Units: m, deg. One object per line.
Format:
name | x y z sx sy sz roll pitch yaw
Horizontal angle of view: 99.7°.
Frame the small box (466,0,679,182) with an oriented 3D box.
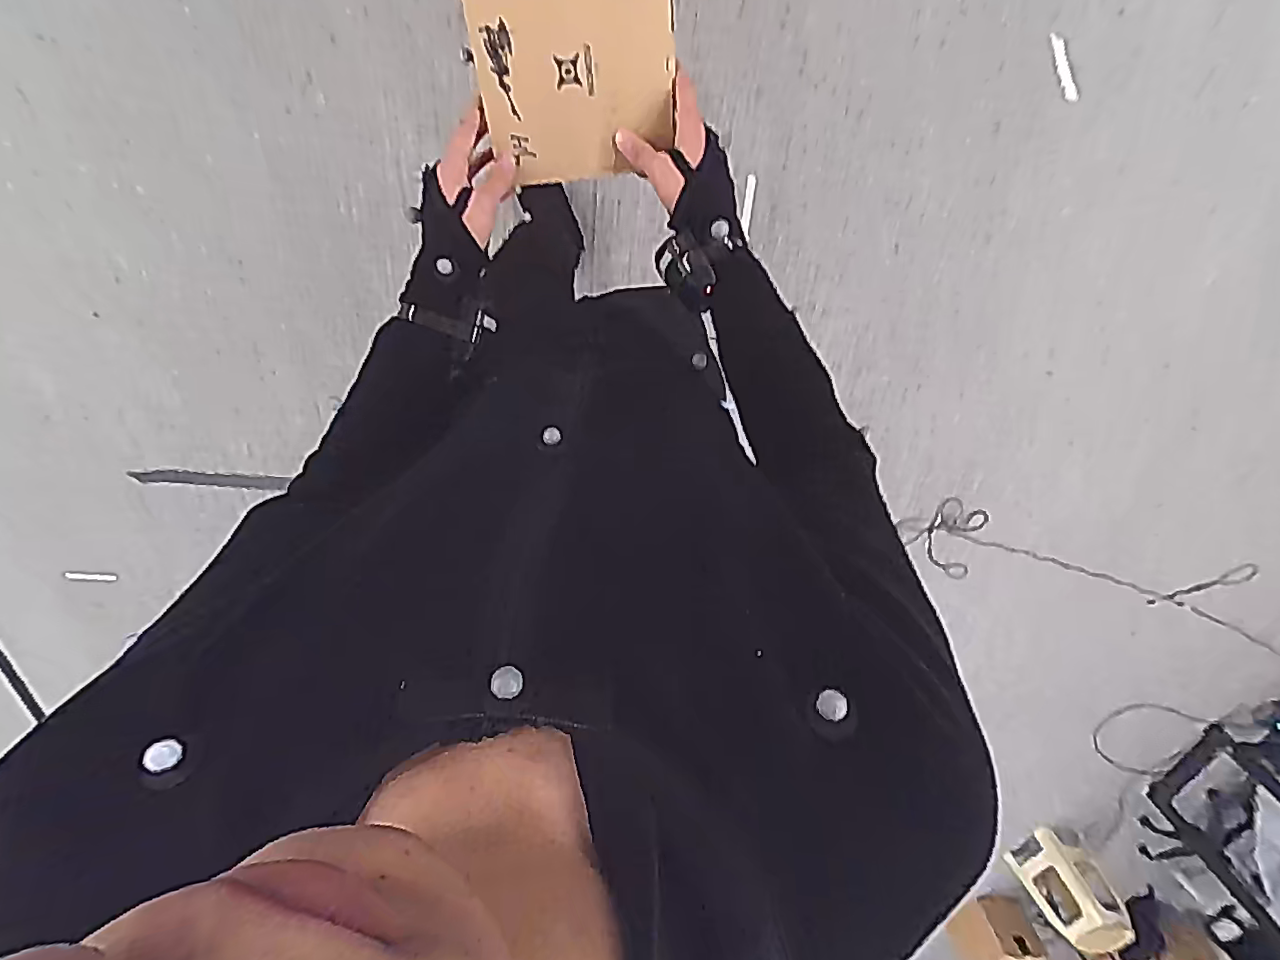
small box | -0.066 -0.405 0.530 0.179 0.176 0.168 -9 128 -6
